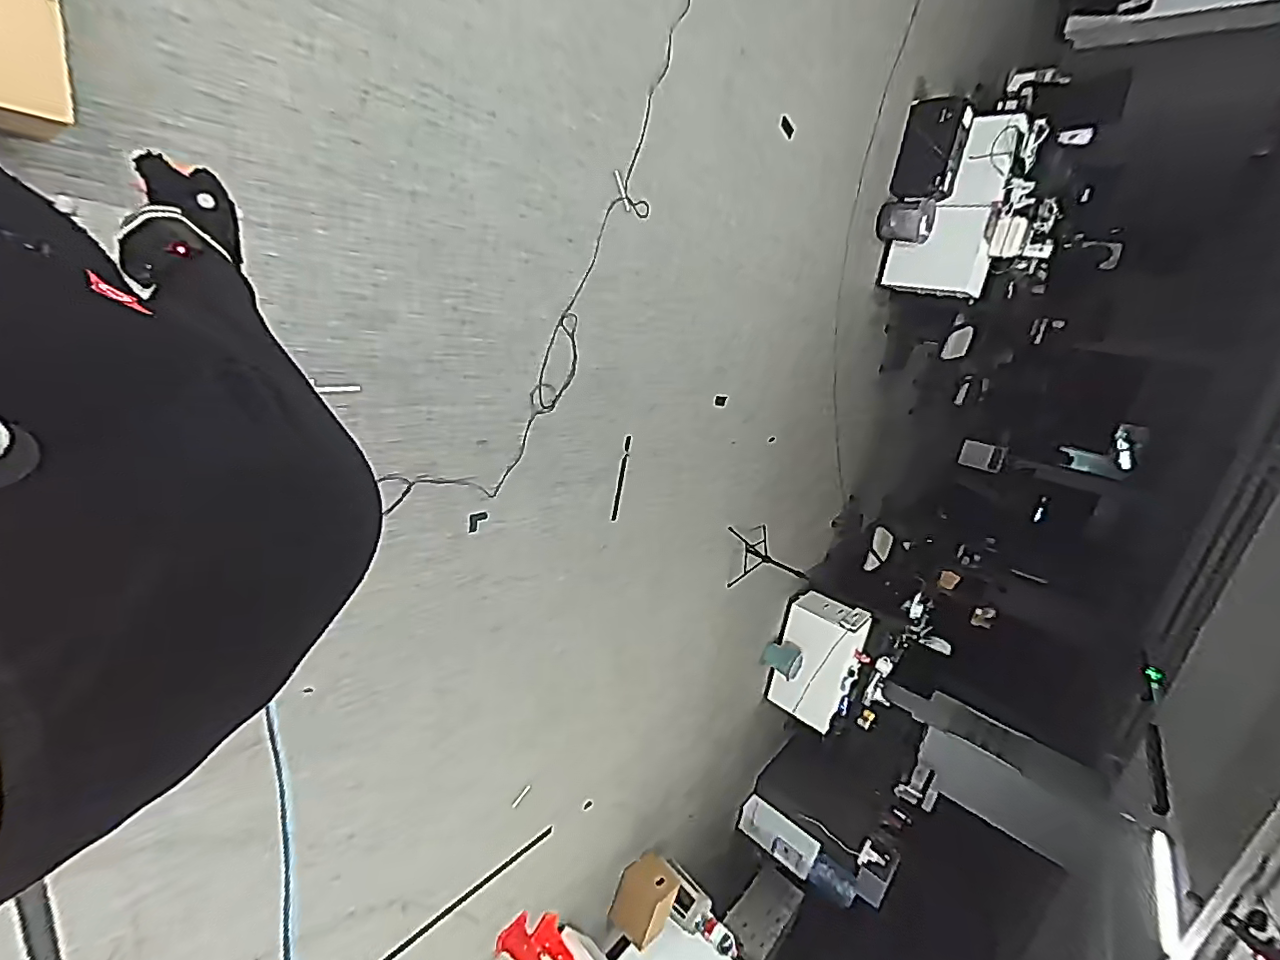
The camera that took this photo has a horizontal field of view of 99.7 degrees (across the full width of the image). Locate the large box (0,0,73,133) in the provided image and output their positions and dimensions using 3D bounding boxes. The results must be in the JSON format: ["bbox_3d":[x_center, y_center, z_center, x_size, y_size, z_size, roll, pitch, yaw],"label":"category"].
[{"bbox_3d":[-1.022,-0.669,0.656,0.408,0.320,0.320,-12,118,-50],"label":"large box"}]
